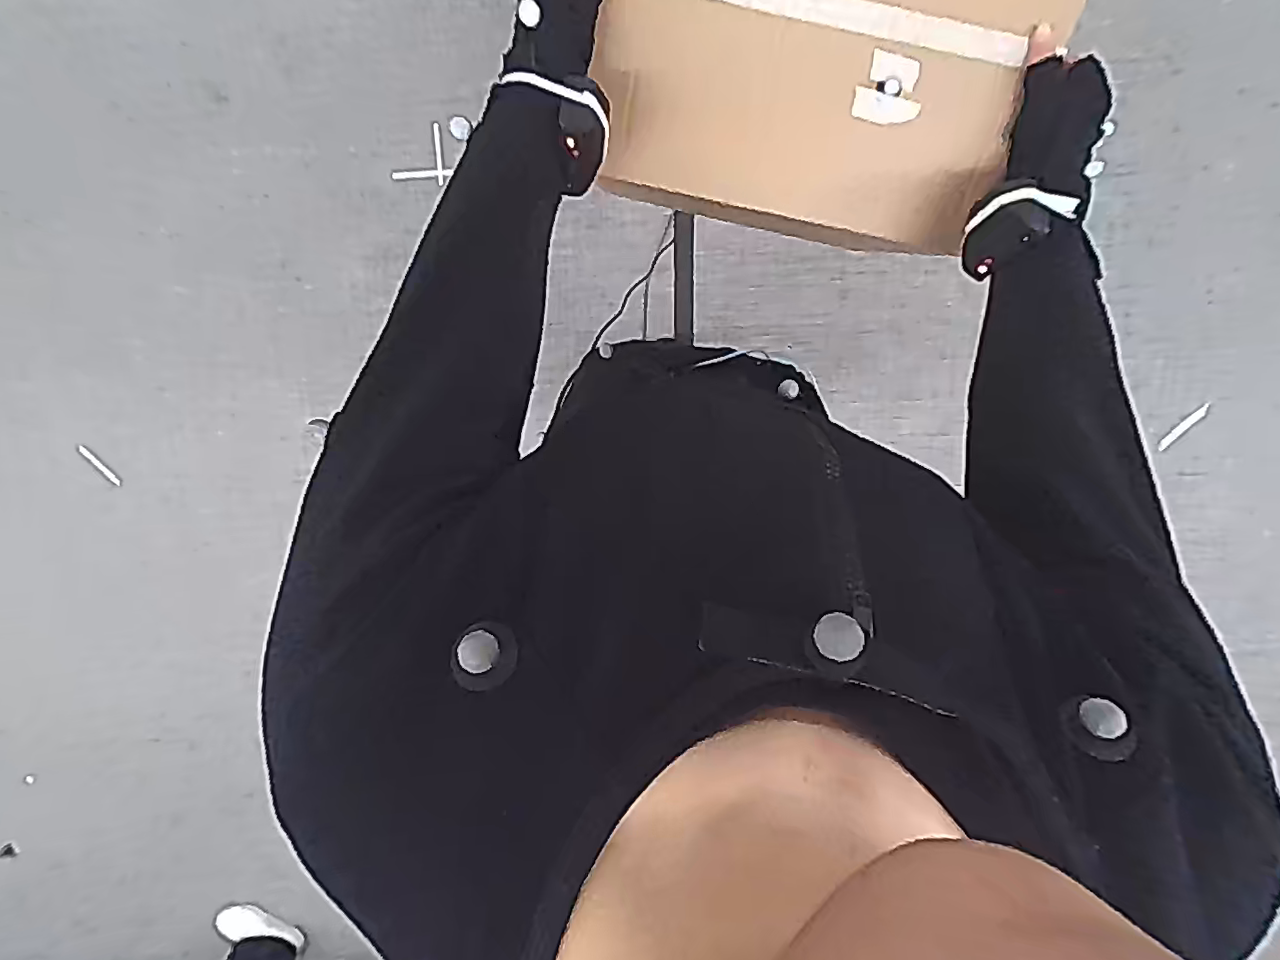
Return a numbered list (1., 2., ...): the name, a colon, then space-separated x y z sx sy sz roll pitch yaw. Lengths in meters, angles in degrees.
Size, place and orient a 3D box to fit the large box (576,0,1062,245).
1. large box: 0.158 -0.464 0.606 0.408 0.320 0.320 10 115 -4
